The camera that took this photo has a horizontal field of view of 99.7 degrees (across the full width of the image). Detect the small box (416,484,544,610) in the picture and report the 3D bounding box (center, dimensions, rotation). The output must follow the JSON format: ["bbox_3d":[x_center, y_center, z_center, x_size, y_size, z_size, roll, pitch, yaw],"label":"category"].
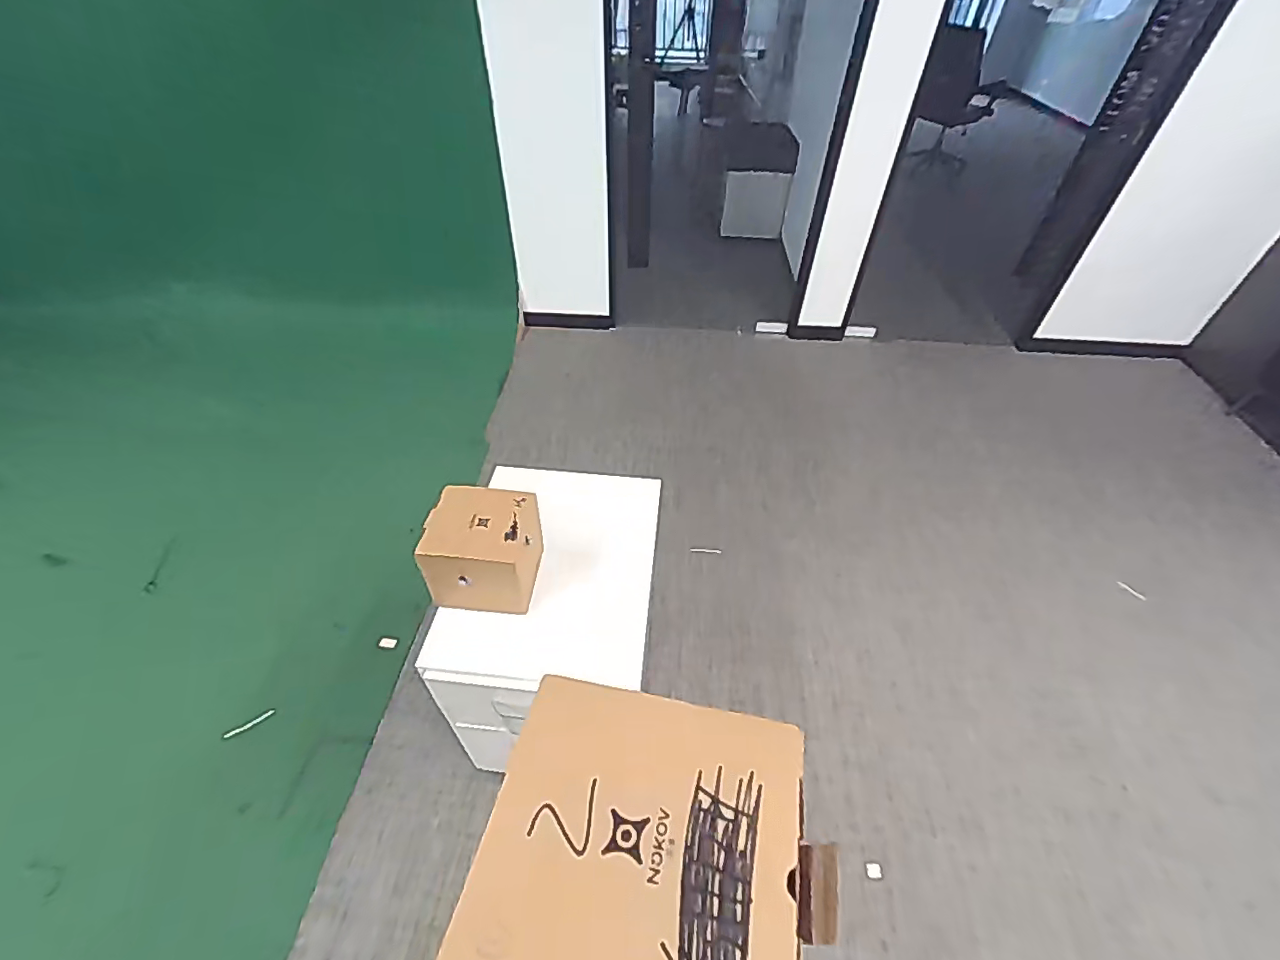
[{"bbox_3d":[-0.289,0.129,1.019,0.179,0.176,0.168,5,45,2],"label":"small box"}]
